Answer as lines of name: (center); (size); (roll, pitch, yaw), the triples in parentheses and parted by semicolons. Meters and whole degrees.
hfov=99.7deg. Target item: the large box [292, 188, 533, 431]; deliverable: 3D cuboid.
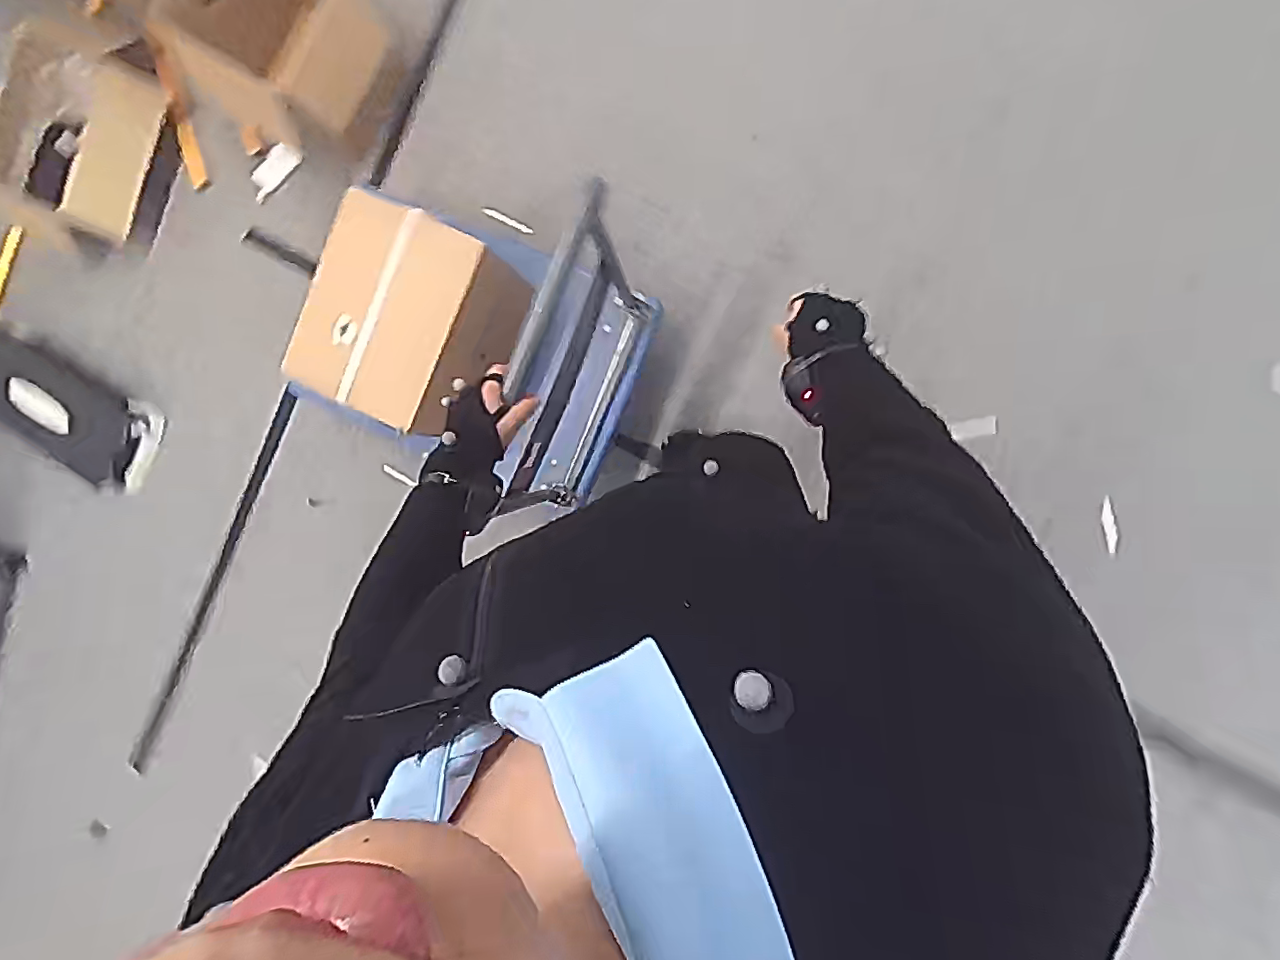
large box: (-0.490, -0.354, 1.228); (0.320, 0.320, 0.408); (24, 97, 7)
